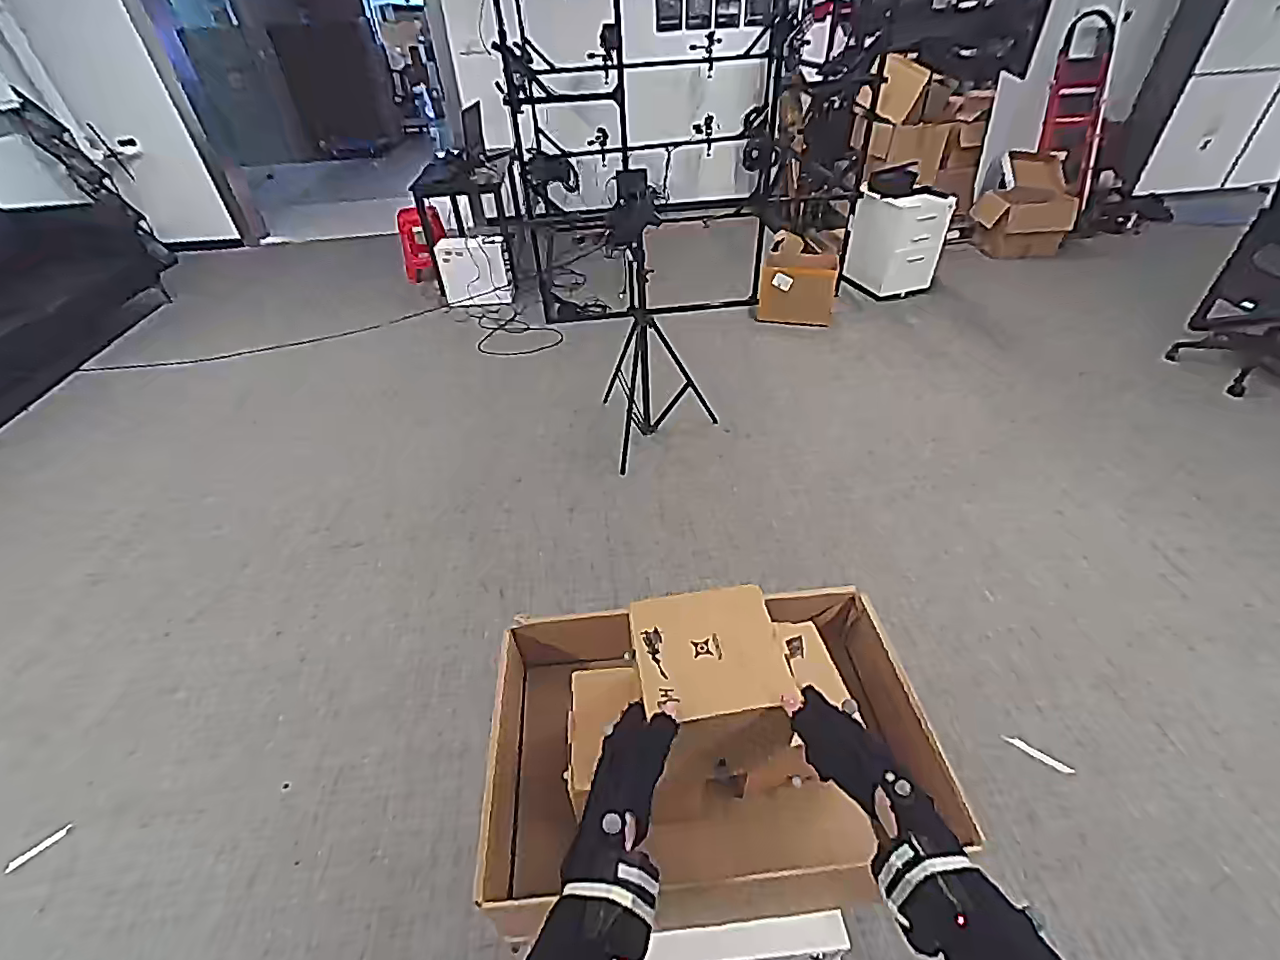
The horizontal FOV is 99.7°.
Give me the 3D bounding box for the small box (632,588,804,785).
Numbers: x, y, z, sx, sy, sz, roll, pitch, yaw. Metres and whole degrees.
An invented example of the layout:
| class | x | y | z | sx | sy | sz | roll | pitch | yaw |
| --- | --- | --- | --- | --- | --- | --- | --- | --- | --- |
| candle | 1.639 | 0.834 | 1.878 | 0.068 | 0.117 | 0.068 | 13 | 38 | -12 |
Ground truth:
| class | x | y | z | sx | sy | sz | roll | pitch | yaw |
| --- | --- | --- | --- | --- | --- | --- | --- | --- | --- |
| small box | 0.084 | 0.263 | 0.690 | 0.179 | 0.176 | 0.168 | -6 | 40 | -5 |
